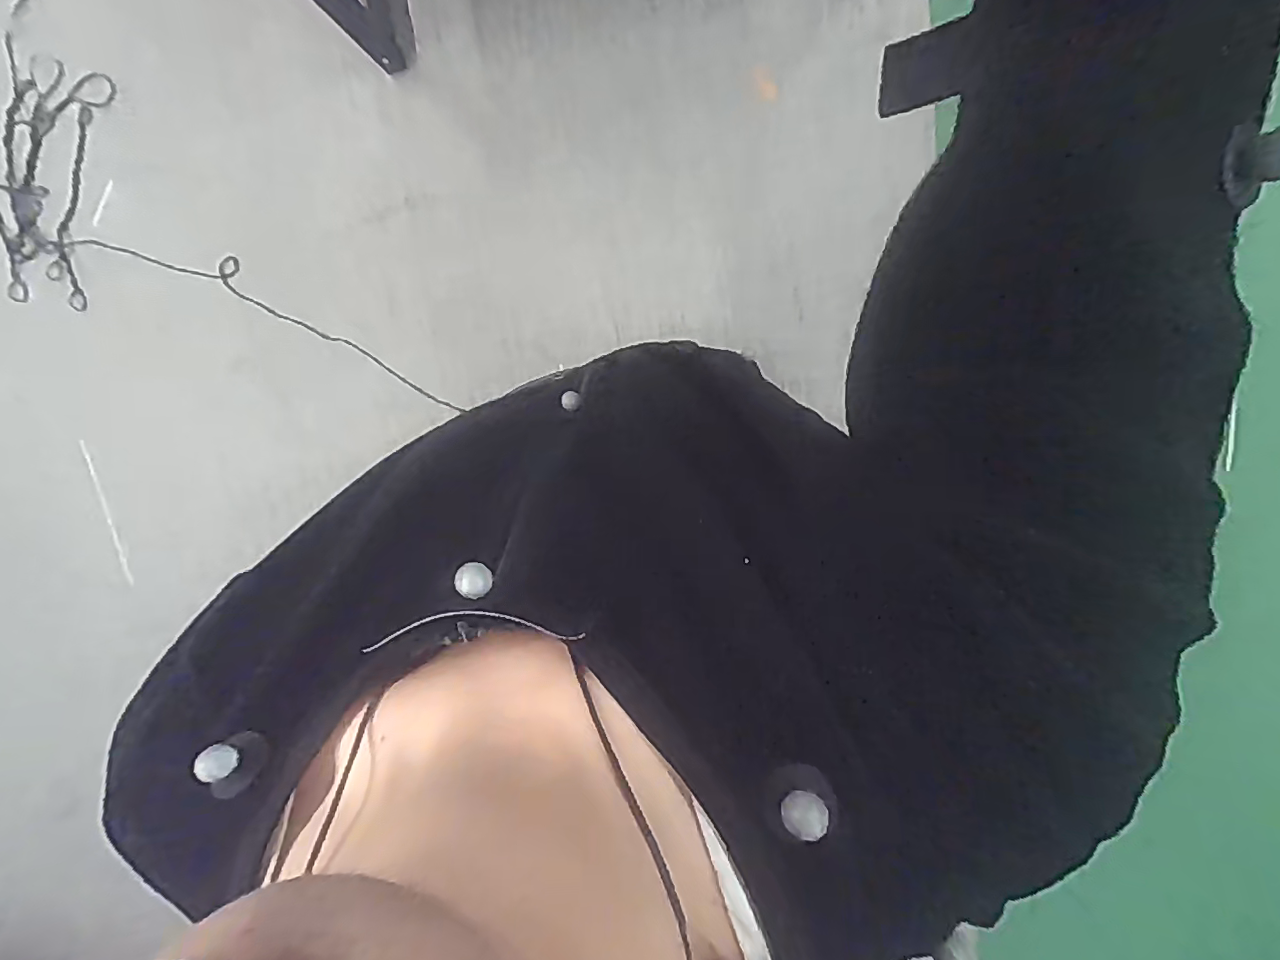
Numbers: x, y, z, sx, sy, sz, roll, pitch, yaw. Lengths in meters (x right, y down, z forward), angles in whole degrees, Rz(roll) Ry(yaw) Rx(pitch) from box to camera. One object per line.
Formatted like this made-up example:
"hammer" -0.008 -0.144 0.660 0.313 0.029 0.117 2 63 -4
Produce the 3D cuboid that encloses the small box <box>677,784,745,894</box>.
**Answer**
"small box" 0.181 0.925 1.408 0.168 0.176 0.179 0 101 7

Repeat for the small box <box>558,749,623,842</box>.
"small box" -0.143 0.928 1.606 0.168 0.176 0.179 0 101 7
